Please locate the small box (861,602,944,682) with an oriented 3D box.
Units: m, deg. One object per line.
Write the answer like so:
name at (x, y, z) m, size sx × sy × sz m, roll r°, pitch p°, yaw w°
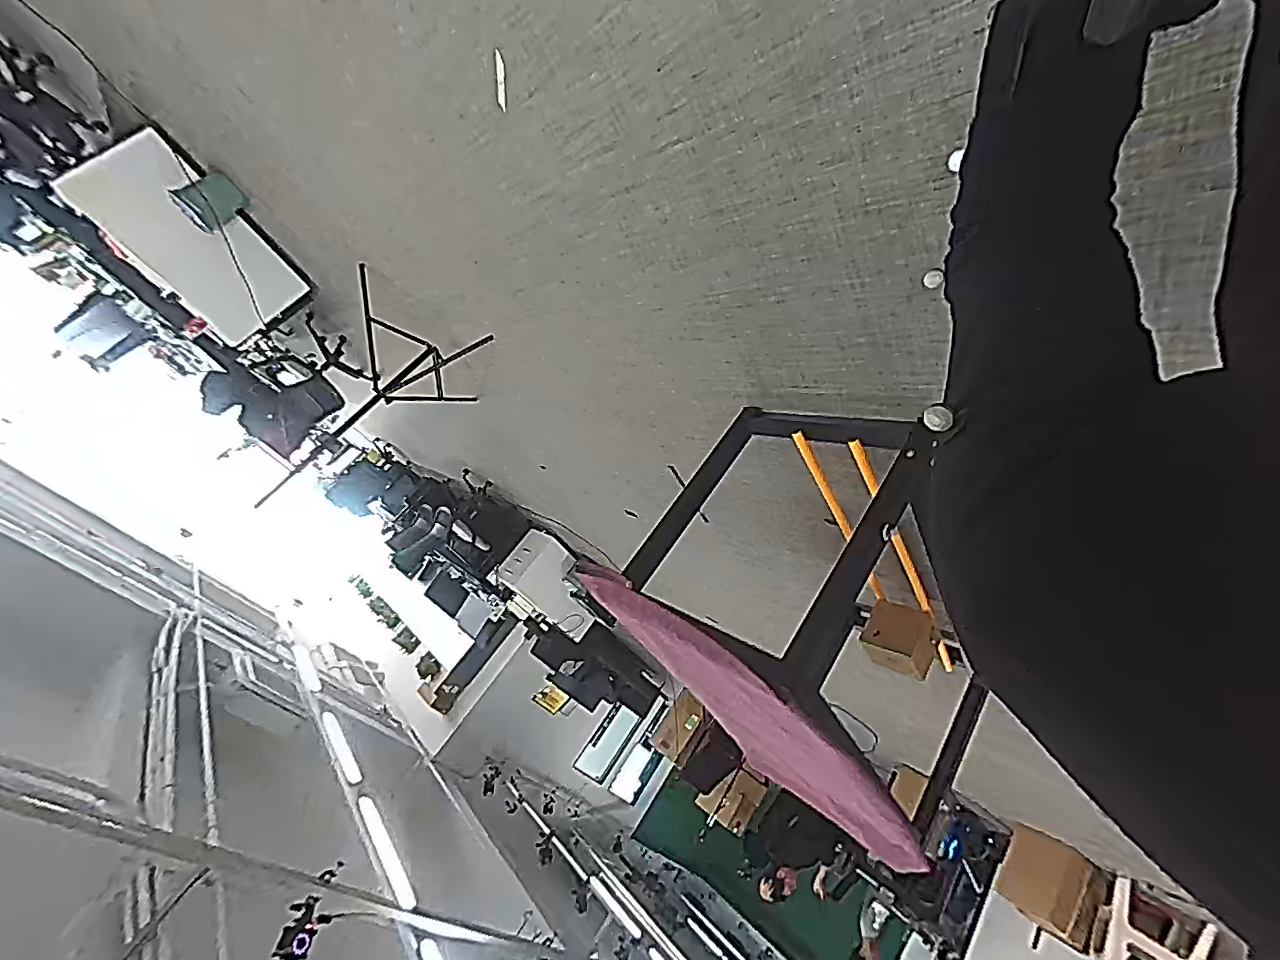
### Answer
small box at (0.869, 0.528, 1.787) m, size 0.179 × 0.176 × 0.168 m, roll 8°, pitch 144°, yaw 50°
